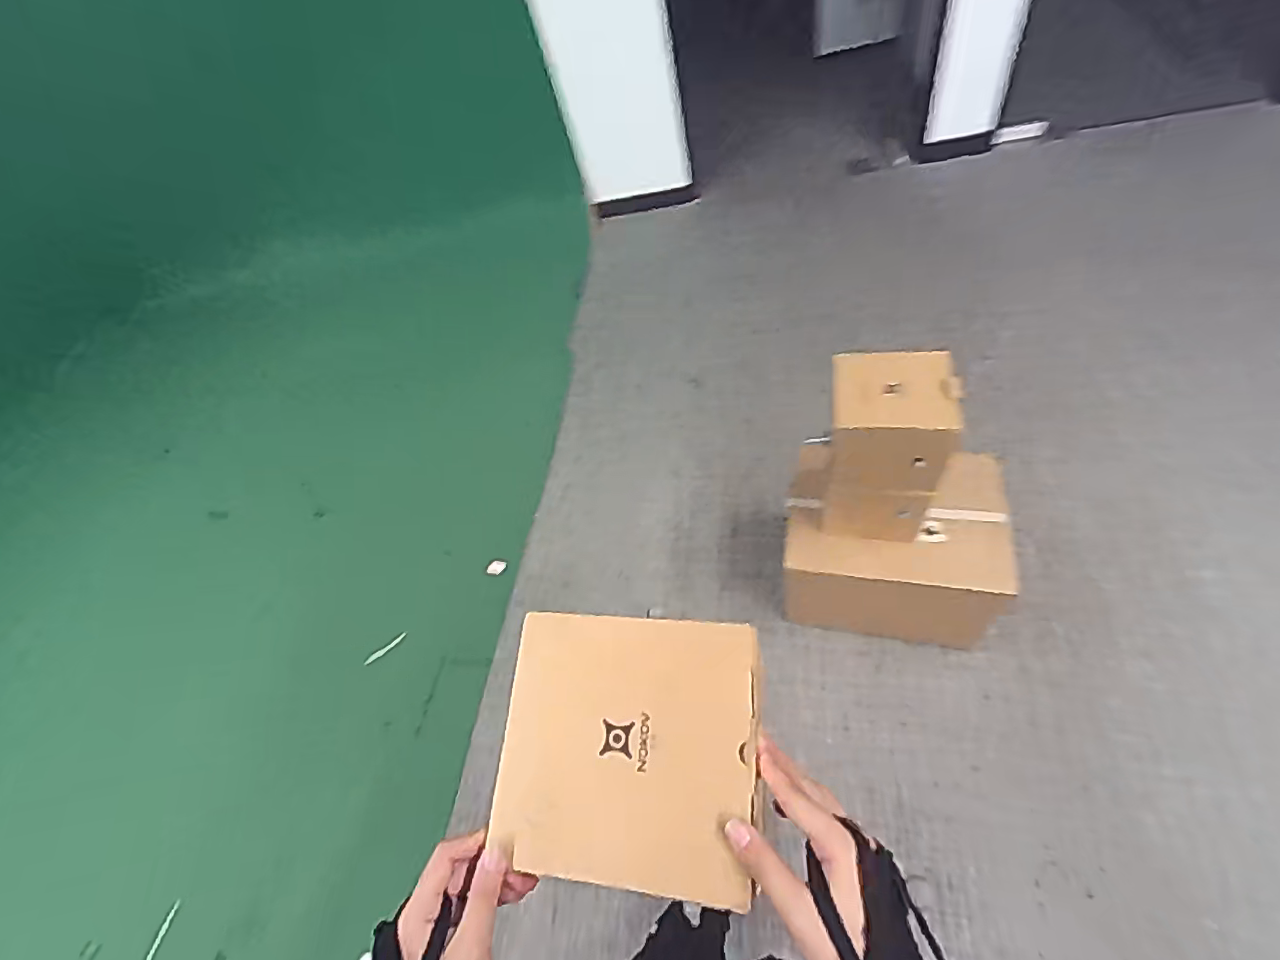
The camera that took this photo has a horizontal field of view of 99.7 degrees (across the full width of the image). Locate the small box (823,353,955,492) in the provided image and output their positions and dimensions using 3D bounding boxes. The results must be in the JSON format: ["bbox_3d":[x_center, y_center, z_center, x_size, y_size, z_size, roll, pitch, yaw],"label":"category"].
[{"bbox_3d":[0.405,-0.092,0.910,0.179,0.176,0.168,0,54,17],"label":"small box"}]

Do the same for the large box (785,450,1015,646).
[{"bbox_3d":[0.537,0.152,1.211,0.408,0.320,0.320,4,57,17],"label":"large box"}]
